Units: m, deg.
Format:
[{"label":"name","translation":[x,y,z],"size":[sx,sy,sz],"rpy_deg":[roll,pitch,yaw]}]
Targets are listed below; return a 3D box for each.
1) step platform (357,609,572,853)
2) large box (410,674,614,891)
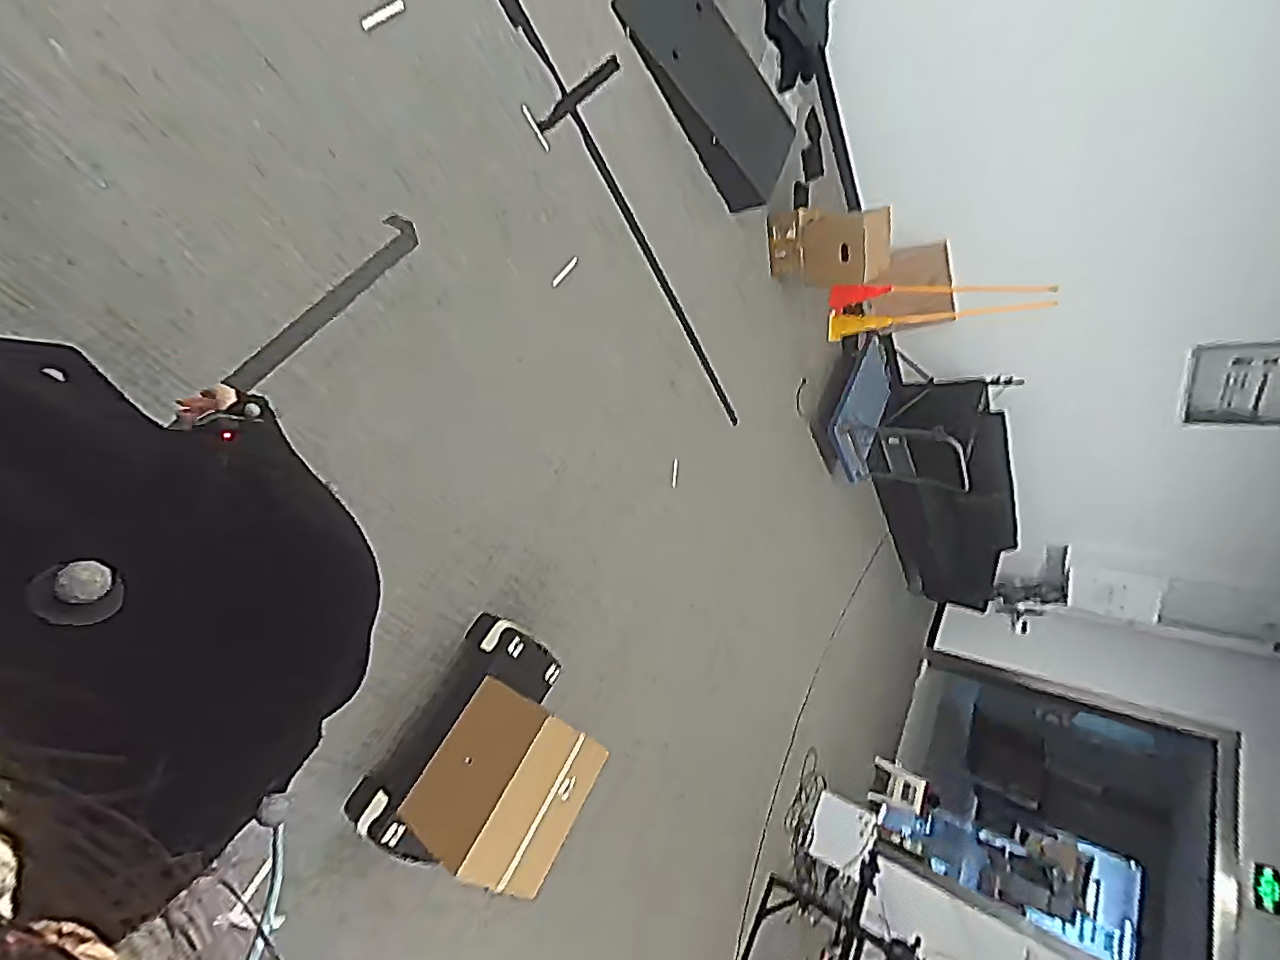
[{"label":"step platform","translation":[-0.509,0.758,1.688],"size":[0.684,0.204,0.286],"rpy_deg":[-54,131,-29]},{"label":"large box","translation":[-0.350,0.832,1.518],"size":[0.320,0.320,0.408],"rpy_deg":[53,56,-38]}]
